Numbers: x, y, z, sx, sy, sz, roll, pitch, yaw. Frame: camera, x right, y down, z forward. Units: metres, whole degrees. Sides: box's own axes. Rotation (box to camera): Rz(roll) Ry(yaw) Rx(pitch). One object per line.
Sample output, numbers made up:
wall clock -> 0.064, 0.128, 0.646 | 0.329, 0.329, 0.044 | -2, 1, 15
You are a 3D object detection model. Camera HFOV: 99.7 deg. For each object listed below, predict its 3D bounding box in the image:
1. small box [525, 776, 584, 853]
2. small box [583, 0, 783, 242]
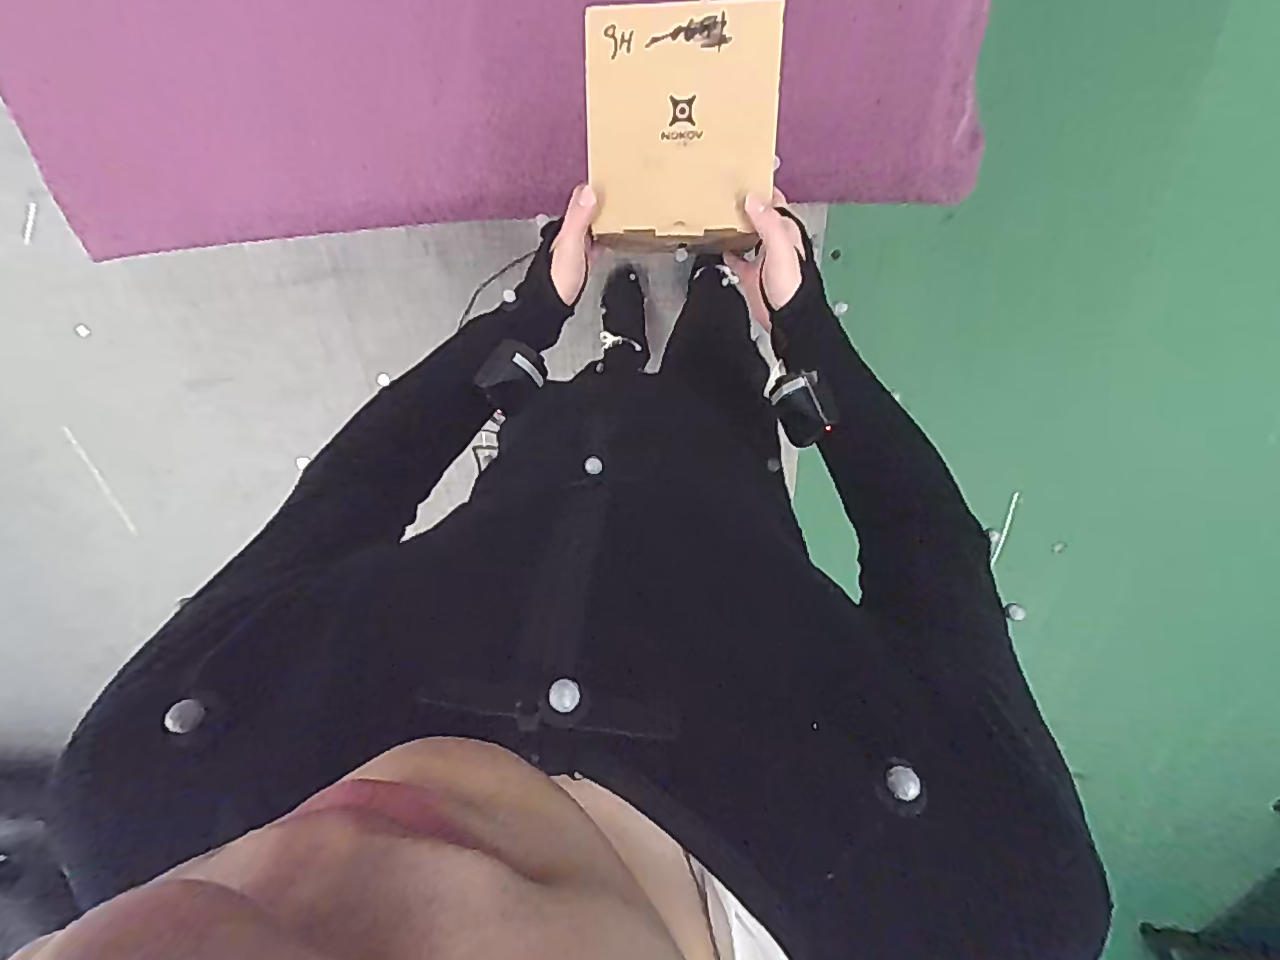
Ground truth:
small box -> -0.293, 1.166, 1.891 | 0.168, 0.176, 0.179 | 4, 122, 6
small box -> 0.042, -0.337, 0.539 | 0.168, 0.176, 0.179 | 1, 108, 6
